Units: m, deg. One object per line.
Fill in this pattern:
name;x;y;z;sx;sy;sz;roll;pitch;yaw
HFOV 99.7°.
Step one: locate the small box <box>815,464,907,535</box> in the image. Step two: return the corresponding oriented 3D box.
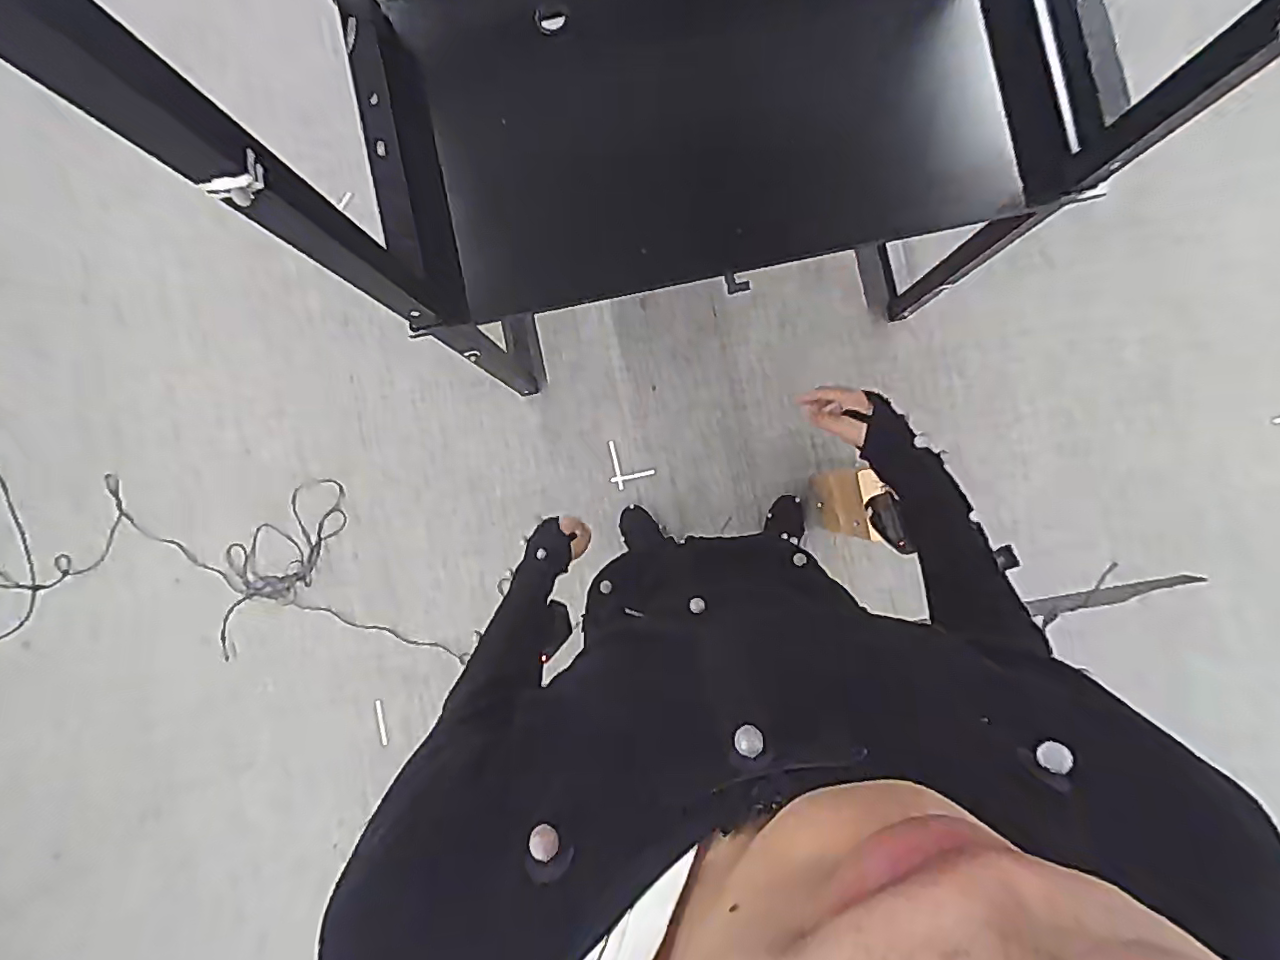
small box;0.622;0.053;1.537;0.179;0.176;0.168;-13;88;3
